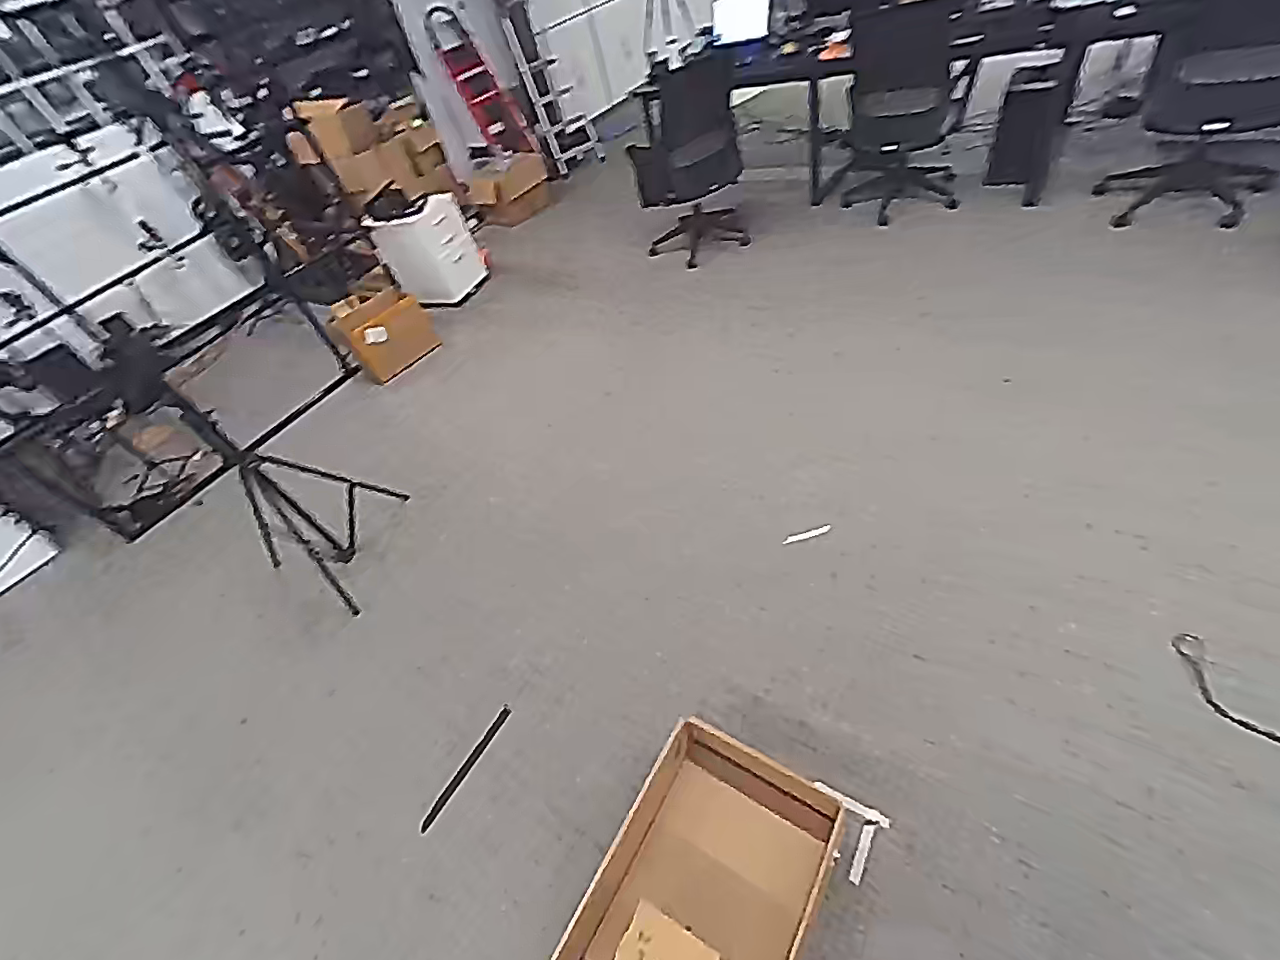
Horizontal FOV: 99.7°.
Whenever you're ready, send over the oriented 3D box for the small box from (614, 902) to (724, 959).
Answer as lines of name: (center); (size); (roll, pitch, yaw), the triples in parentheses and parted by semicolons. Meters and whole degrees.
small box: (0.052, 0.961, 1.039); (0.179, 0.176, 0.168); (15, 53, 30)
